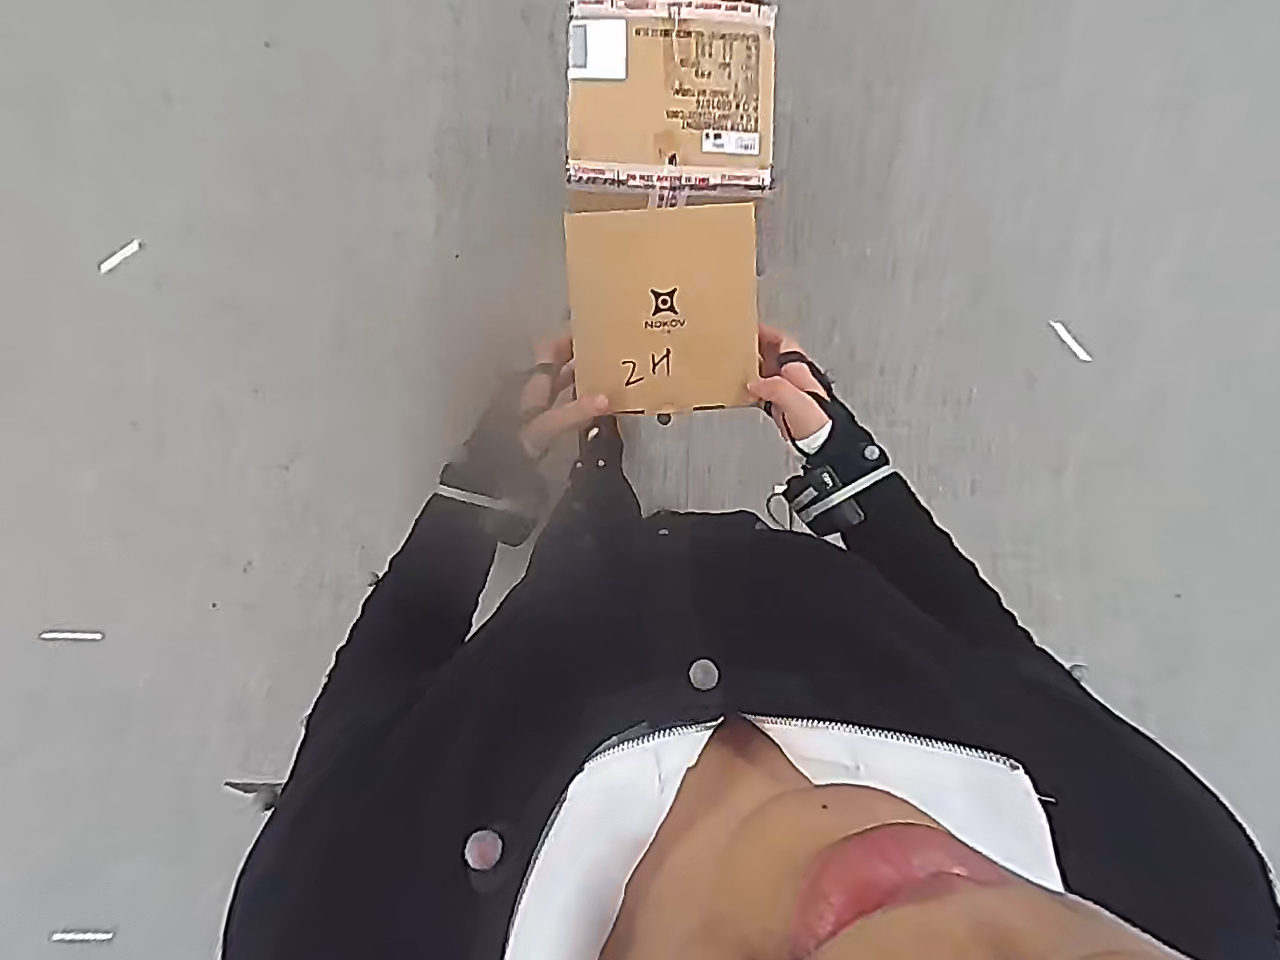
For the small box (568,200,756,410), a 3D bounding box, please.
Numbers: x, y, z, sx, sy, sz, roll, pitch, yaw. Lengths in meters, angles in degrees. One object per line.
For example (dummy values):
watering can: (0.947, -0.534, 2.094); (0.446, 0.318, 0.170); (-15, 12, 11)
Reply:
small box: (0.021, -0.163, 0.558); (0.168, 0.176, 0.179); (-3, 97, 2)
